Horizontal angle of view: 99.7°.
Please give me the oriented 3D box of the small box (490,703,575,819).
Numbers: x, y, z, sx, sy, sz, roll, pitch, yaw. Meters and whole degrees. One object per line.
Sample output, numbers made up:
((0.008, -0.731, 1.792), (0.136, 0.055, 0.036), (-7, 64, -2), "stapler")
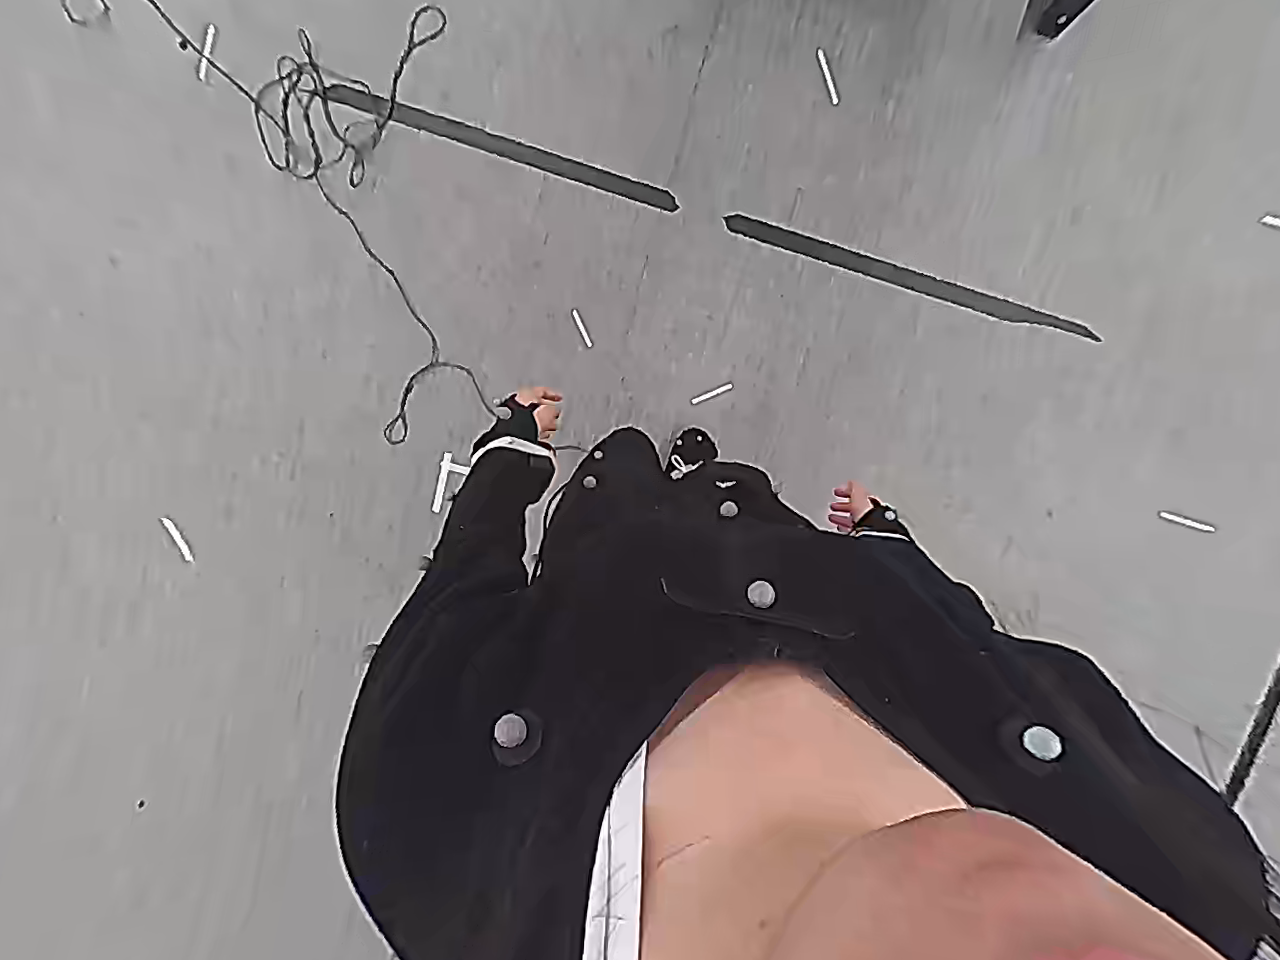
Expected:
((-0.248, 0.632, 1.196), (0.168, 0.176, 0.179), (14, 95, 0), "small box")
